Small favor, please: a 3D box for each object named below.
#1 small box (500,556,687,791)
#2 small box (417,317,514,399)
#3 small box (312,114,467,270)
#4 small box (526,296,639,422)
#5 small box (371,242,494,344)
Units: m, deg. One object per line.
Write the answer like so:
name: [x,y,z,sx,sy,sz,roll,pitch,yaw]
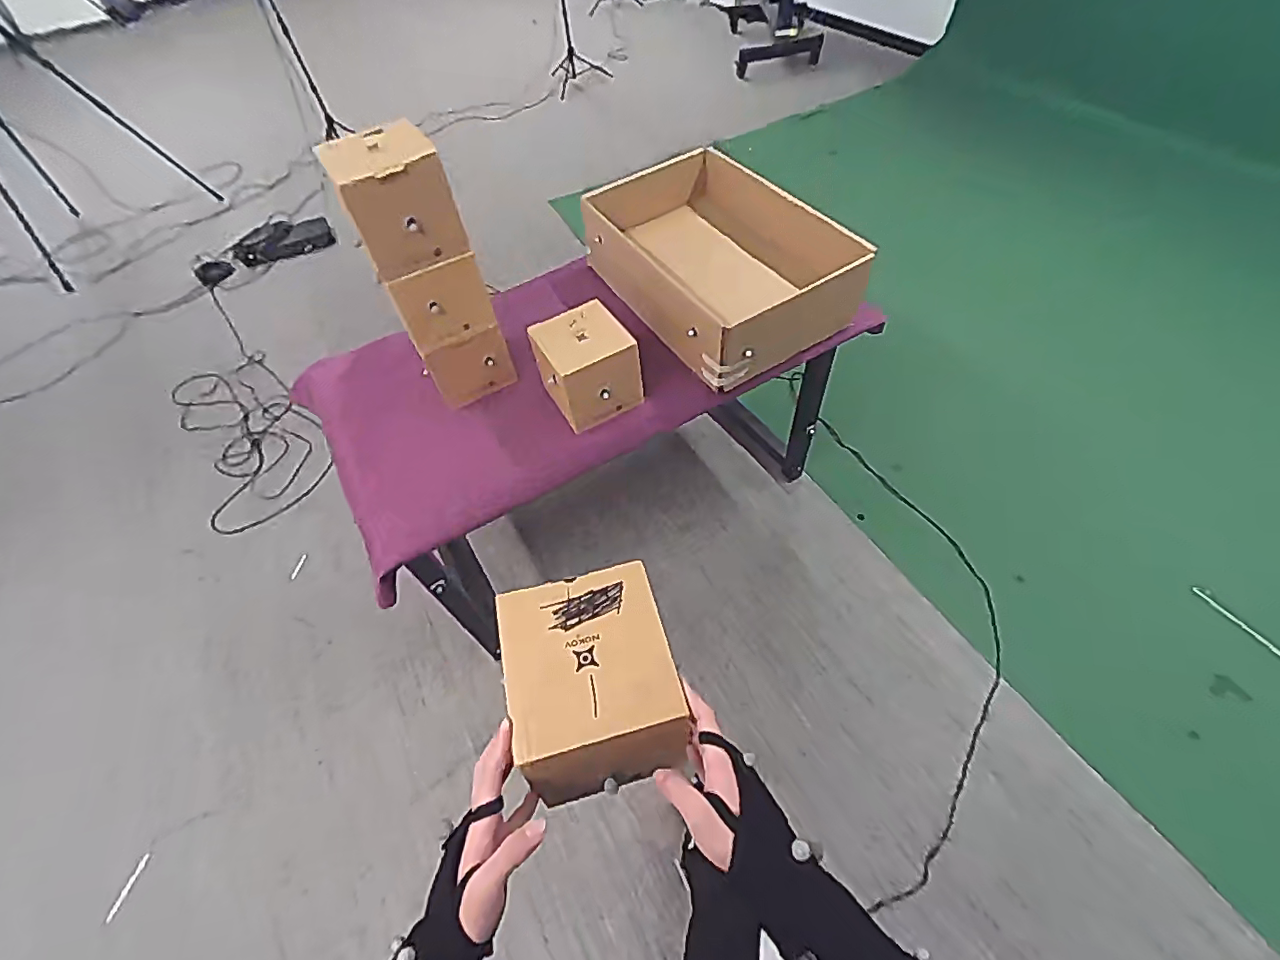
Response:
small box: [-0.052,0.218,0.608,0.168,0.176,0.179,-13,49,-7]
small box: [-0.399,-0.303,1.201,0.168,0.176,0.179,-28,57,-14]
small box: [-0.423,-0.489,0.934,0.168,0.176,0.179,-28,58,-15]
small box: [-0.112,-0.244,1.129,0.168,0.176,0.179,-27,57,-14]
small box: [-0.410,-0.392,1.066,0.168,0.176,0.179,-28,57,-15]
